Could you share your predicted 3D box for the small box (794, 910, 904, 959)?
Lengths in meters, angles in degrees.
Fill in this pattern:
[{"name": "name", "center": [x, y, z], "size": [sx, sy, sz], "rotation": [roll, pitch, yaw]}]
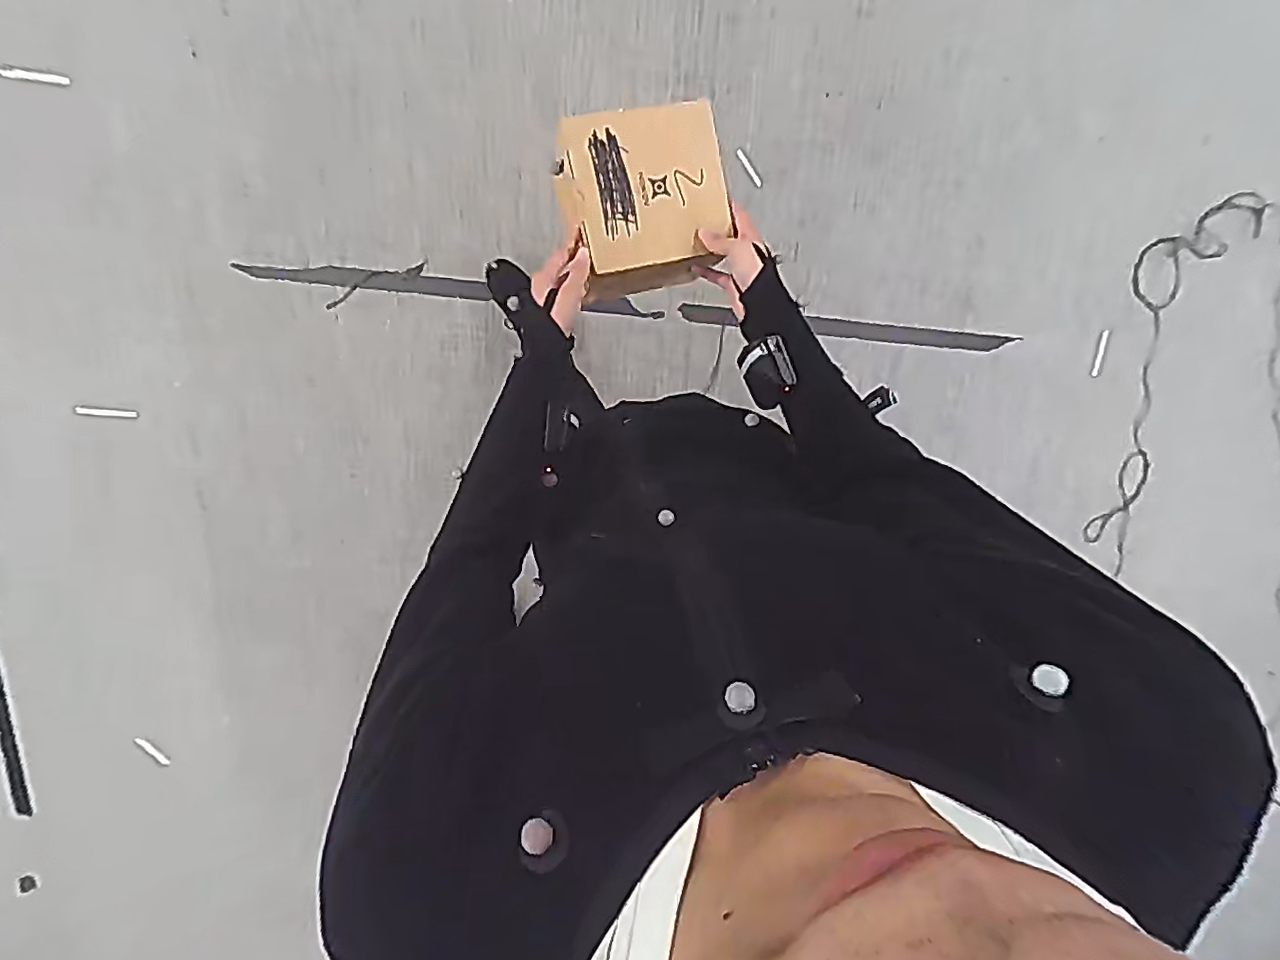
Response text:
[{"name": "small box", "center": [0.417, 0.990, 1.054], "size": [0.168, 0.176, 0.179], "rotation": [12, 102, -6]}]
